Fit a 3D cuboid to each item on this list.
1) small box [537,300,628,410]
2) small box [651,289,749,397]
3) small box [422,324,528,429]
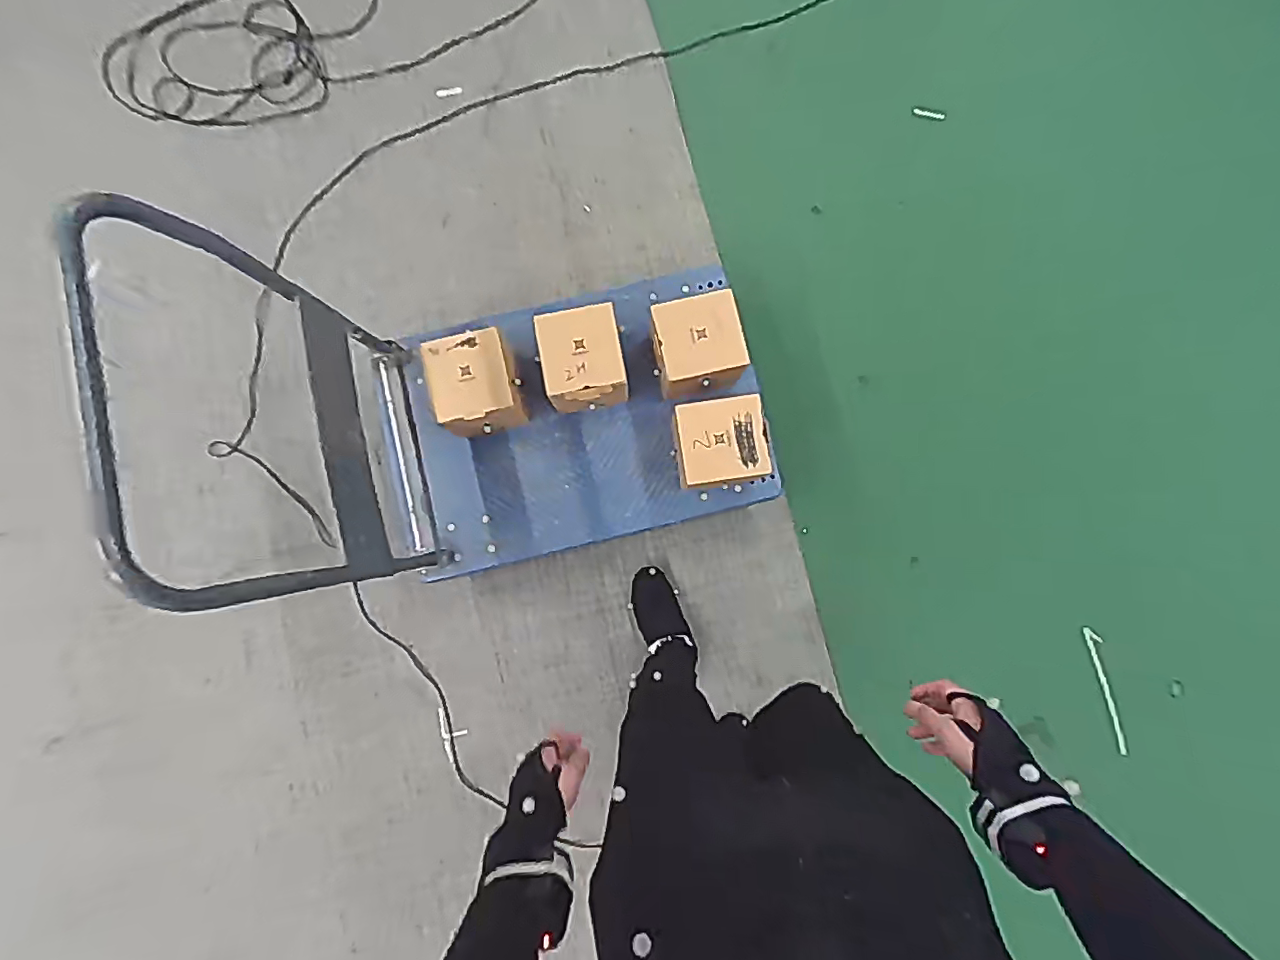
[{"bbox_3d":[-0.120,-0.266,1.184,0.168,0.176,0.179,-10,85,-1],"label":"small box"},{"bbox_3d":[0.124,-0.292,1.187,0.179,0.176,0.168,-12,85,-1],"label":"small box"},{"bbox_3d":[-0.350,-0.214,1.177,0.168,0.176,0.179,-12,85,-1],"label":"small box"}]
